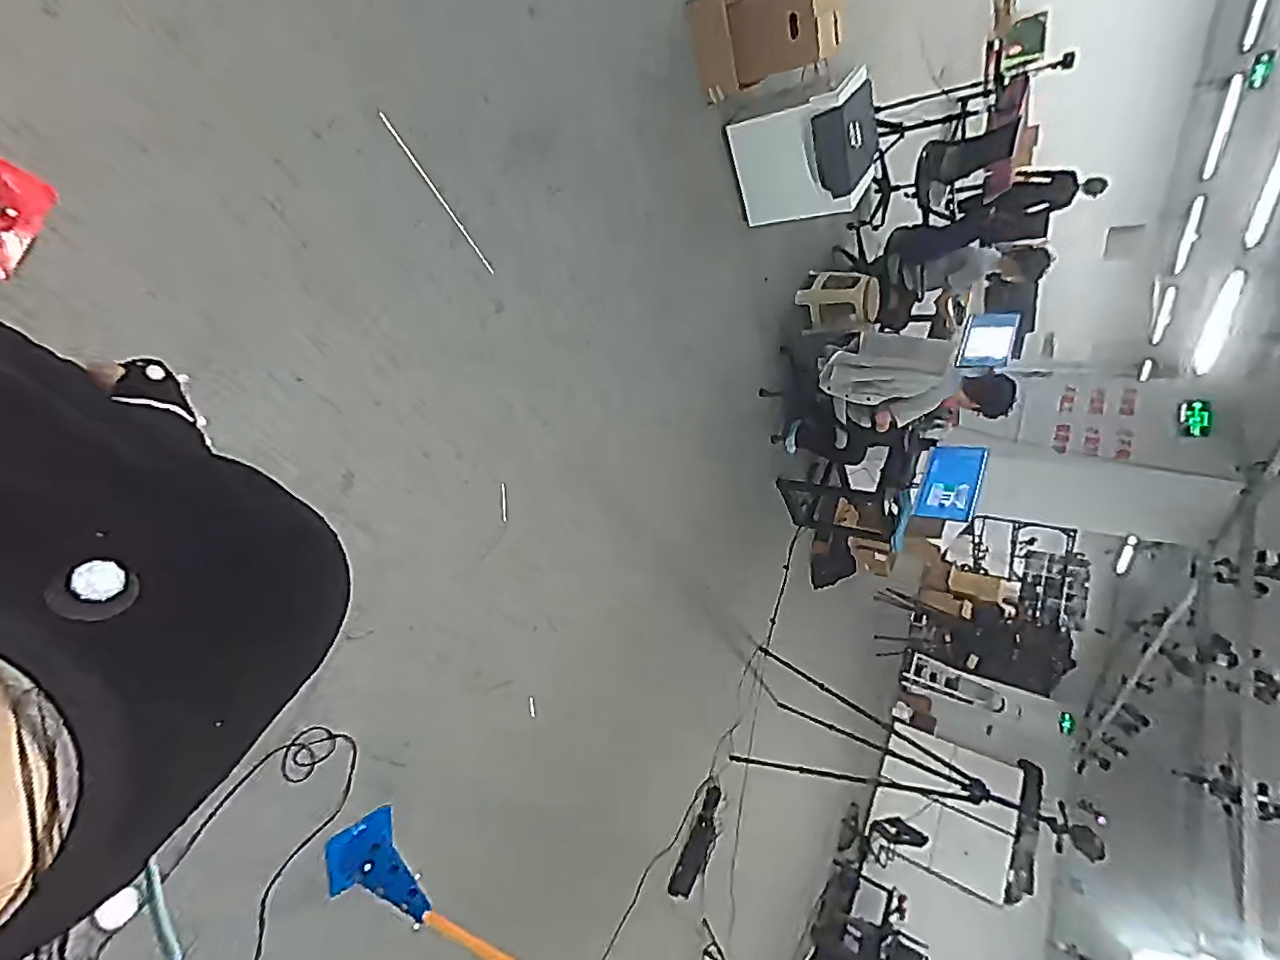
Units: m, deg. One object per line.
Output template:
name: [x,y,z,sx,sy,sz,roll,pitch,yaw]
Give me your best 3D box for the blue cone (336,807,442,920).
blue cone: [-0.711,1.161,1.589,0.193,0.380,0.192,-16,109,-53]
